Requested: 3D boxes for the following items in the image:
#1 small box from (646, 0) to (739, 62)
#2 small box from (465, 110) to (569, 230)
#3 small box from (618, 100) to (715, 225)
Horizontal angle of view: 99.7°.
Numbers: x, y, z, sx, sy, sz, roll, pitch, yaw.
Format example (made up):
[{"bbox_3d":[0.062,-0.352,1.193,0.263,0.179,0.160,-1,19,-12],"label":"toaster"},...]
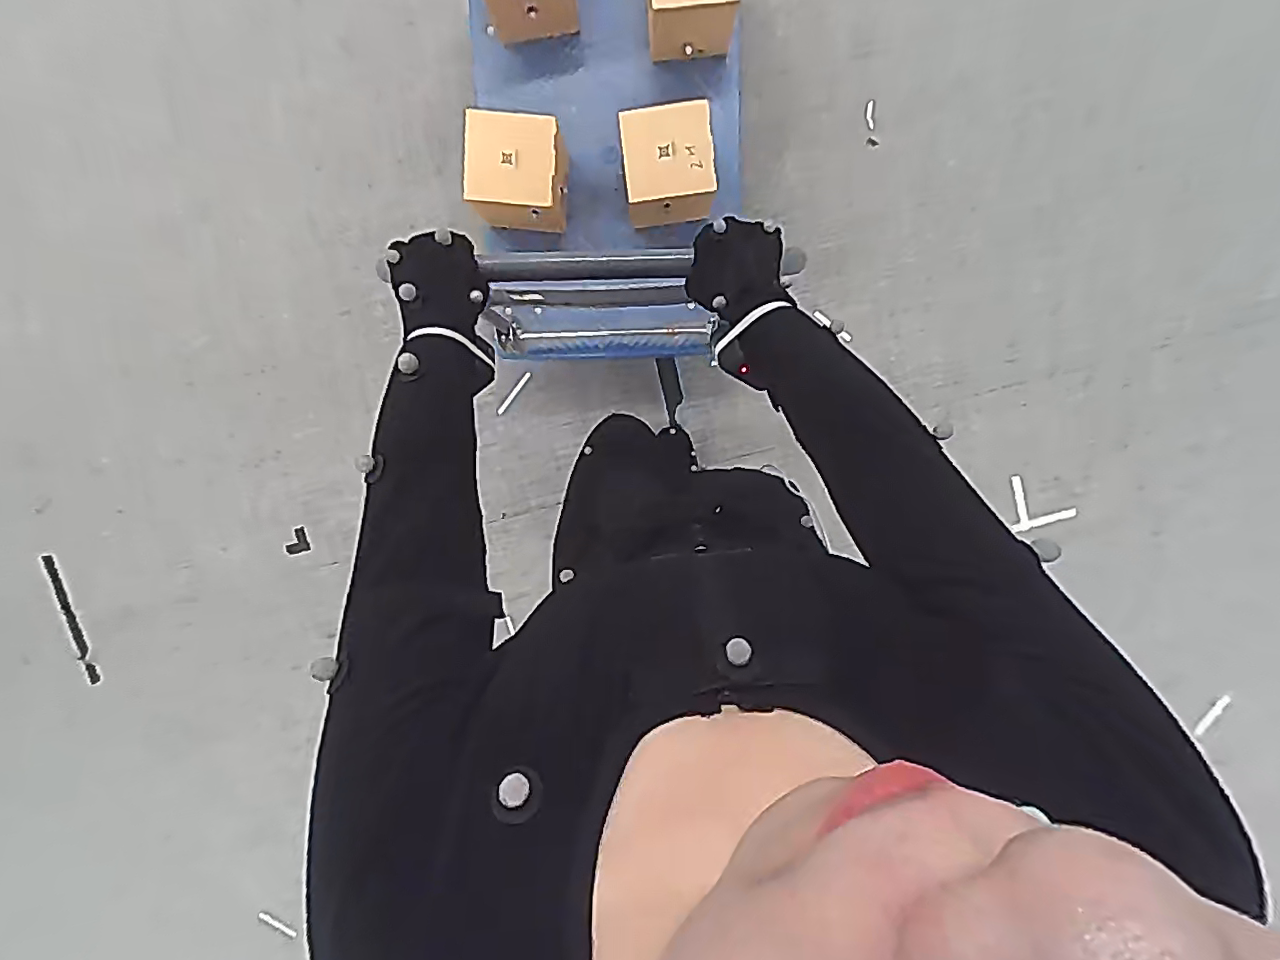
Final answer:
[{"bbox_3d":[0.096,-0.977,1.068,0.168,0.176,0.179,-5,100,2],"label":"small box"},{"bbox_3d":[-0.250,-0.635,1.128,0.179,0.176,0.168,4,99,-2],"label":"small box"},{"bbox_3d":[0.054,-0.646,1.122,0.179,0.176,0.168,-7,99,2],"label":"small box"}]
